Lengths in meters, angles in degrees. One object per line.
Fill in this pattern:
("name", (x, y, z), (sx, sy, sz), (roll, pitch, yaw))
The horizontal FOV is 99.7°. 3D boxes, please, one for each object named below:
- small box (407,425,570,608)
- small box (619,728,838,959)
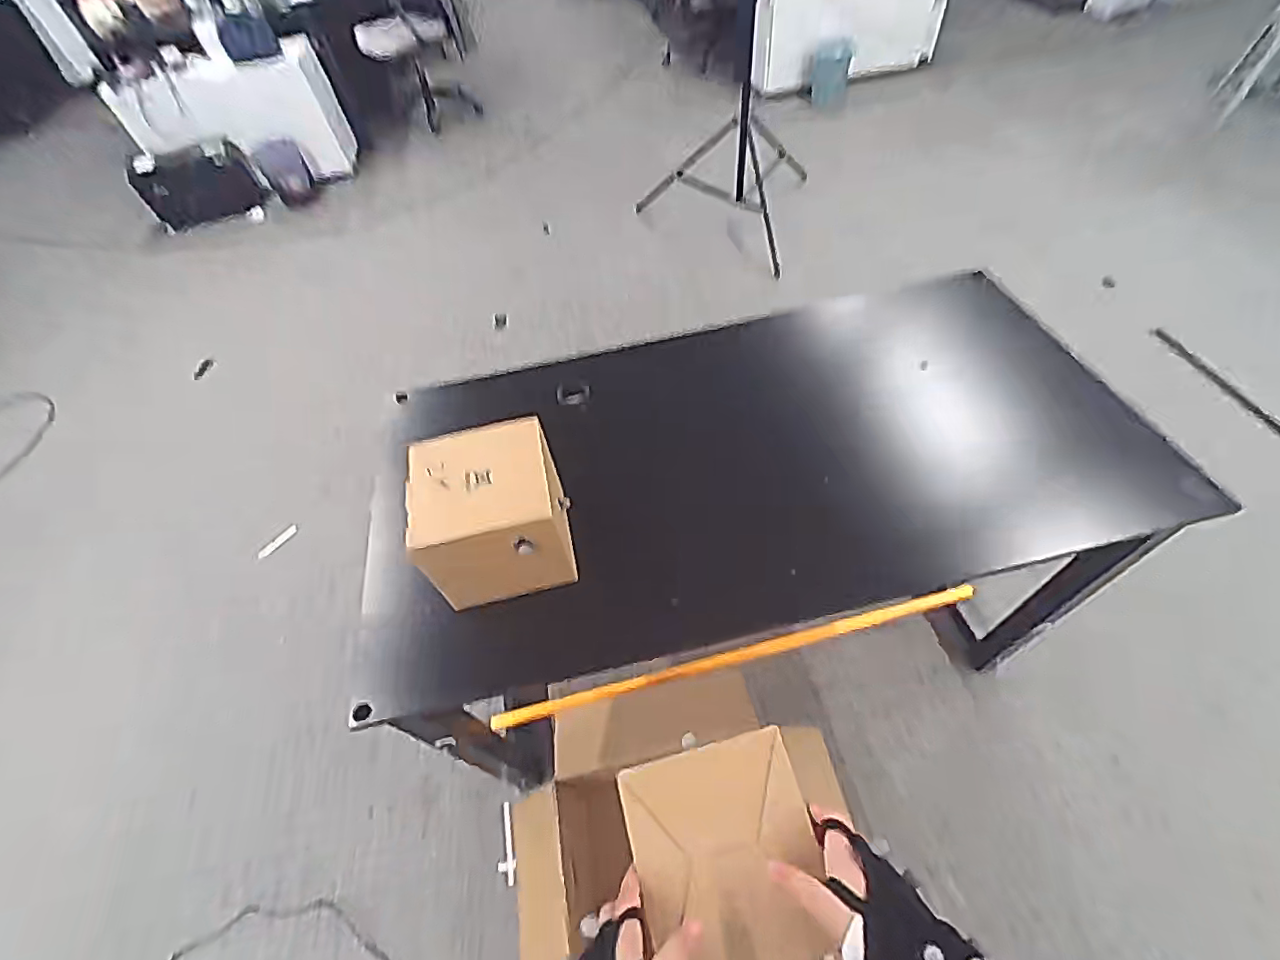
("small box", (-0.198, 0.054, 0.744), (0.179, 0.176, 0.168), (-13, 52, -4))
("small box", (0.084, 0.369, 0.550), (0.168, 0.176, 0.179), (-17, 62, -1))
